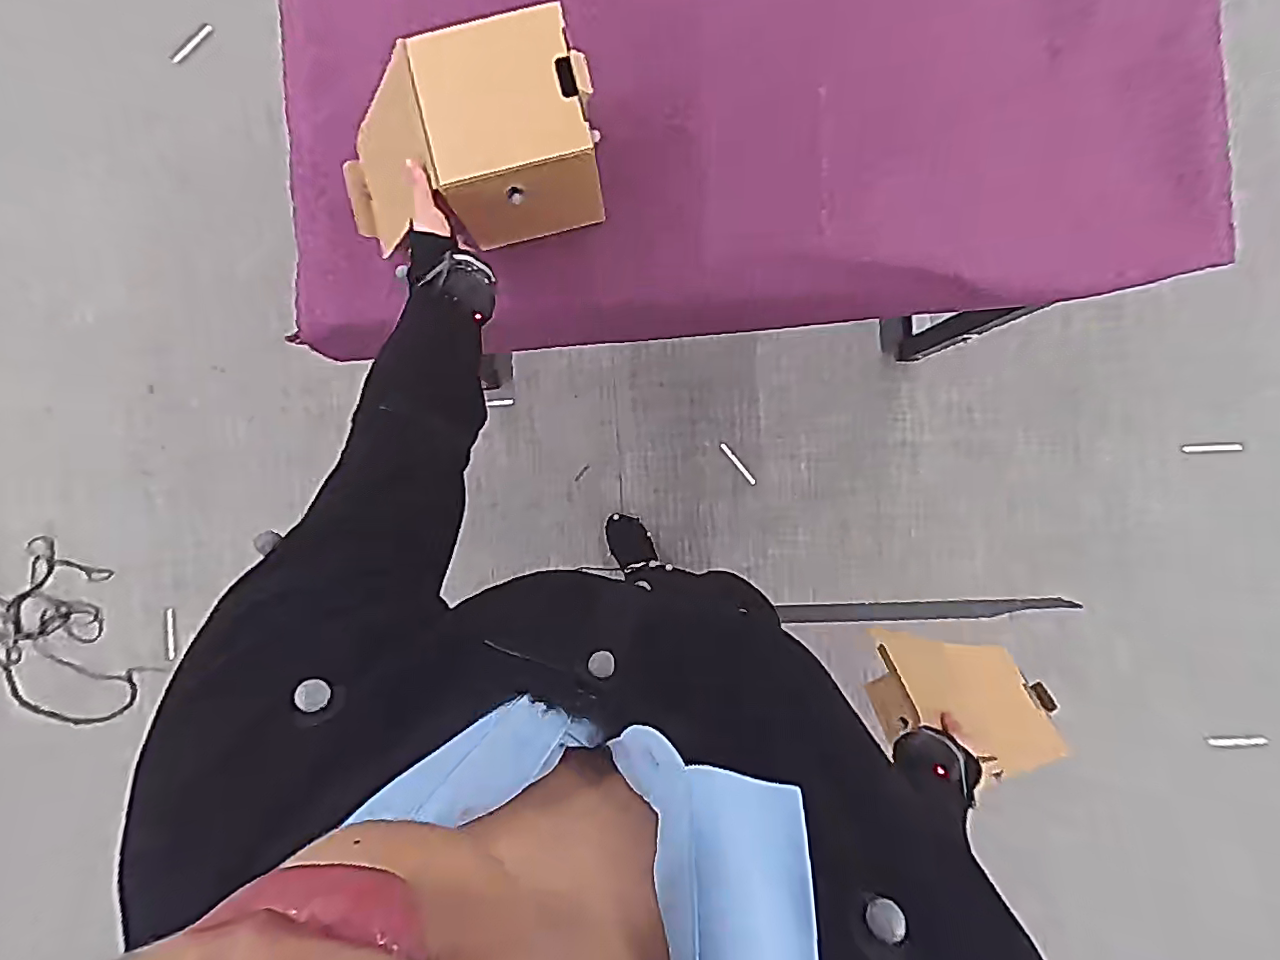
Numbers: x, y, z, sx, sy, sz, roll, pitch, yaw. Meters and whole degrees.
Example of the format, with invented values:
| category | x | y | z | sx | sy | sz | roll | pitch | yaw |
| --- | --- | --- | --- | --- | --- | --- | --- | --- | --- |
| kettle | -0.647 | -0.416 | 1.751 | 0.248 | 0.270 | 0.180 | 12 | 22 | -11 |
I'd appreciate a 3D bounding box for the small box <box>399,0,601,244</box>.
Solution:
| category | x | y | z | sx | sy | sz | roll | pitch | yaw |
| --- | --- | --- | --- | --- | --- | --- | --- | --- | --- |
| small box | -0.153 | -0.408 | 0.648 | 0.179 | 0.176 | 0.168 | -13 | 91 | 0 |
